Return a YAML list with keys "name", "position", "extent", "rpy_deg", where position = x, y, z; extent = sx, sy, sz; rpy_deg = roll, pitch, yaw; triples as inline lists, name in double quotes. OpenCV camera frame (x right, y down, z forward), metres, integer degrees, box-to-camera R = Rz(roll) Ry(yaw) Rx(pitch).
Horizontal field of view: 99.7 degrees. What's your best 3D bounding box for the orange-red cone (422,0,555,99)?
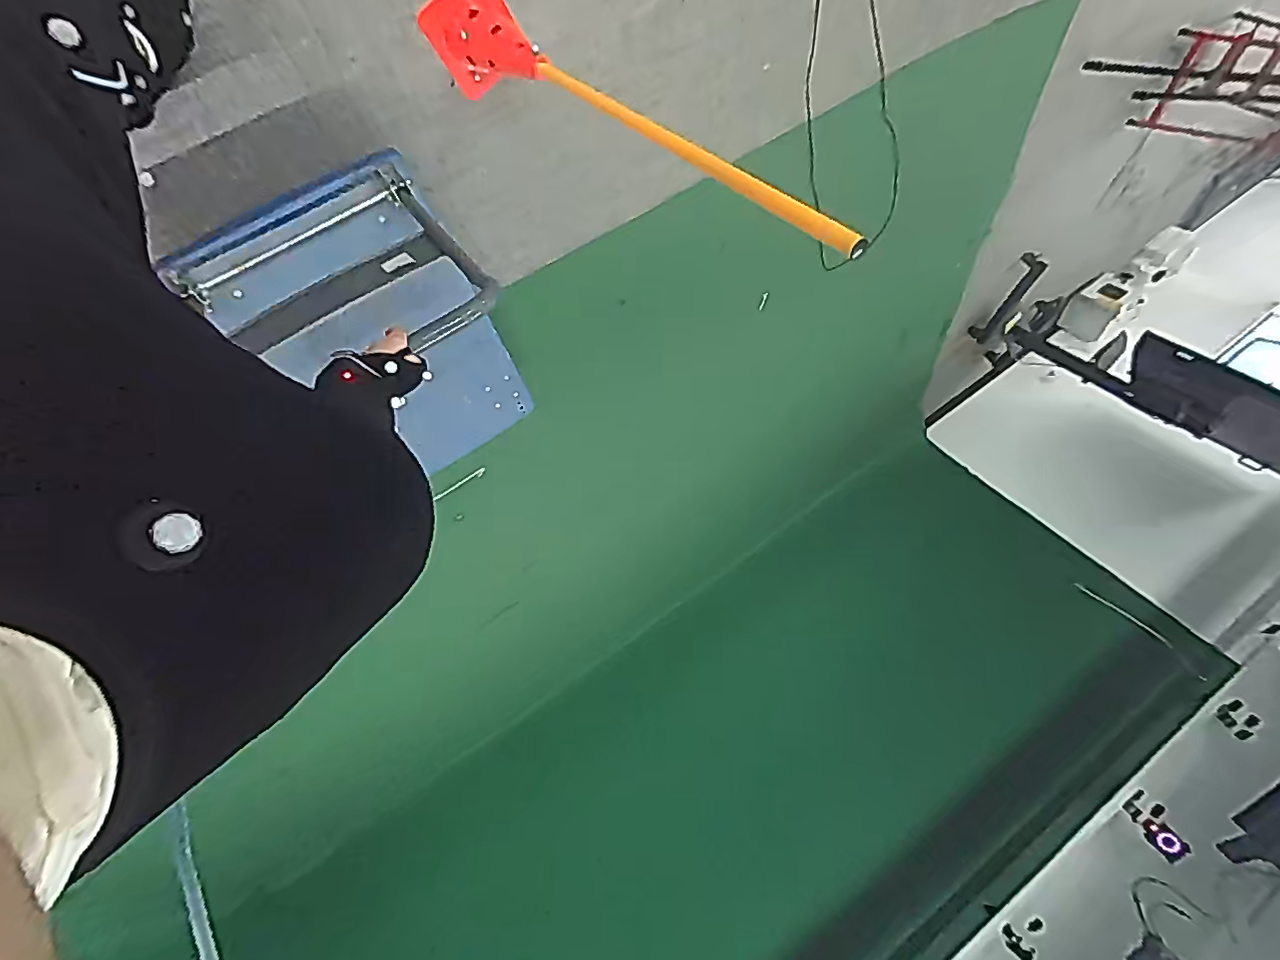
- name: "orange-red cone"
  position: [-0.282, -0.923, 1.161]
  extent: [0.199, 0.360, 0.198]
  rpy_deg: [-42, 148, 1]
